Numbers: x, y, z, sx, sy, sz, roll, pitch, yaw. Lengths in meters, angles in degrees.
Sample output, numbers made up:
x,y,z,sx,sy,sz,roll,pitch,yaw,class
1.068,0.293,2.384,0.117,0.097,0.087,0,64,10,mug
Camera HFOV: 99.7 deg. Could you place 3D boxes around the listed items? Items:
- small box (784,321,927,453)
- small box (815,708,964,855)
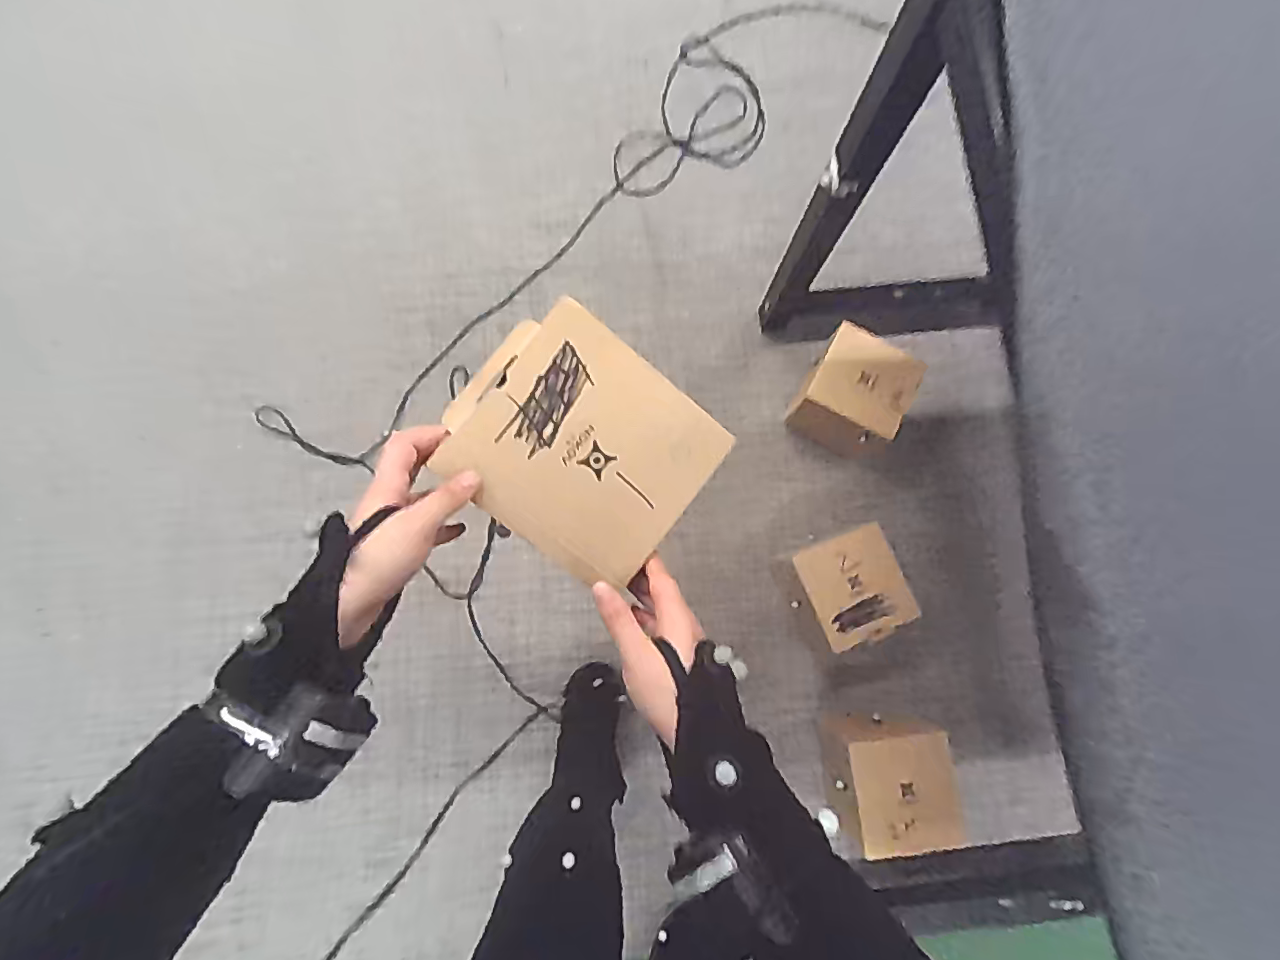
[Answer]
x,y,z,sx,sy,sz,roll,pitch,yaw,class
0.406,-0.170,1.053,0.179,0.176,0.168,28,81,3,small box
0.417,0.505,0.934,0.168,0.176,0.179,-6,81,-1,small box
